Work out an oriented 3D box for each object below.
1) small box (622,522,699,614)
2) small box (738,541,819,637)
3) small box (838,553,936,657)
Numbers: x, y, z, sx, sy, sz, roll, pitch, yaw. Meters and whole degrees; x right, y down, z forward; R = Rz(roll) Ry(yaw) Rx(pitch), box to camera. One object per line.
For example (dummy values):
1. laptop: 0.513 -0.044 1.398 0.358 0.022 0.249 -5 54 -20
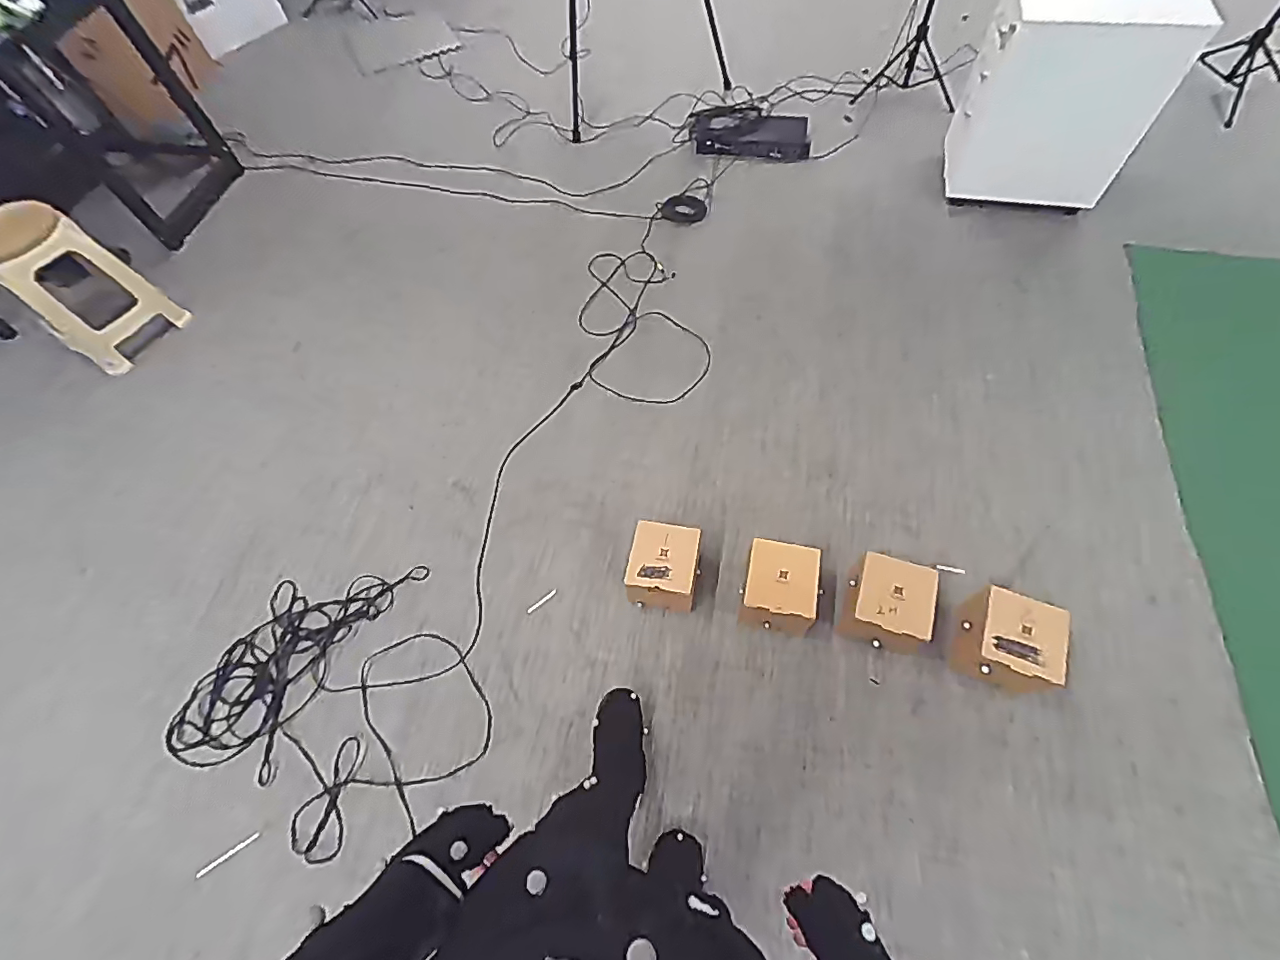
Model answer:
1. small box: 0.059 0.233 1.404 0.168 0.176 0.179 8 61 9
2. small box: 0.343 0.276 1.357 0.168 0.176 0.179 9 62 10
3. small box: 0.594 0.308 1.316 0.168 0.176 0.179 16 64 14
